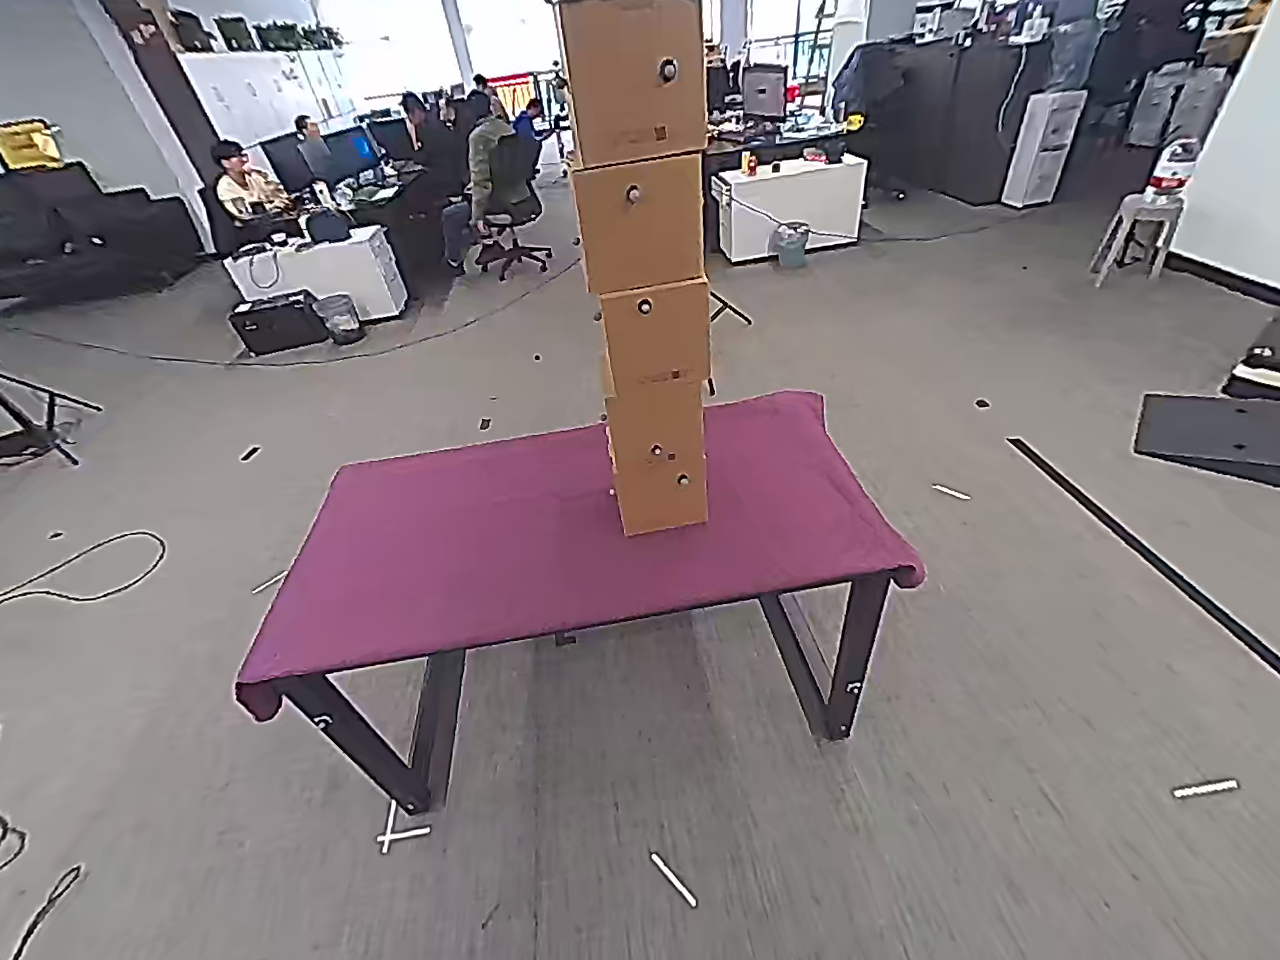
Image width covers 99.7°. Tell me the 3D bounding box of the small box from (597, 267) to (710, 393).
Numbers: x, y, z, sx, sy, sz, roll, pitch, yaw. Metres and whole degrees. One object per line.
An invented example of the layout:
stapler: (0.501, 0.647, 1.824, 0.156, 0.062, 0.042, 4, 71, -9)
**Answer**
small box: (0.018, -0.268, 0.909, 0.168, 0.176, 0.179, -10, 39, -2)

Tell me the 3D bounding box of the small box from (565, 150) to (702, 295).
small box: (-0.009, -0.398, 0.815, 0.179, 0.176, 0.168, -11, 40, -3)

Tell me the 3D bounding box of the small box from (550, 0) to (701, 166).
small box: (-0.019, -0.526, 0.715, 0.168, 0.176, 0.179, -11, 39, -5)

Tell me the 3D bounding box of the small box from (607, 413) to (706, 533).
small box: (0.036, -0.013, 1.114, 0.179, 0.176, 0.168, -11, 39, -2)
